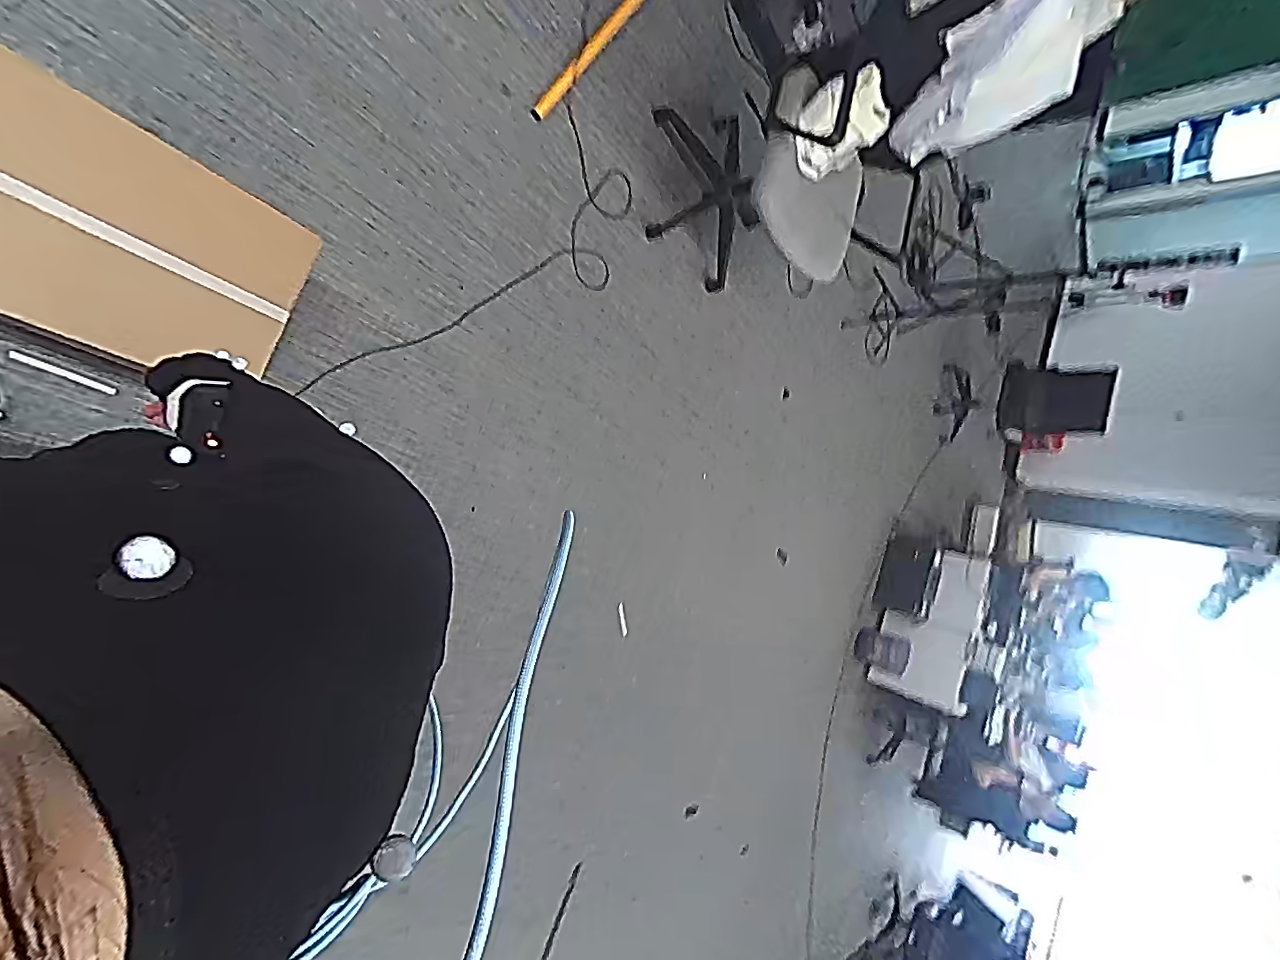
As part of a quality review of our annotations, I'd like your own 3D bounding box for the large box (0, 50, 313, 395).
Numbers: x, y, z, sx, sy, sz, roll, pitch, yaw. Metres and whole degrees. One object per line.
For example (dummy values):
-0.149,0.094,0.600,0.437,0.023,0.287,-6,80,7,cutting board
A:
-0.838,-0.362,0.879,0.408,0.320,0.320,26,79,-45,large box
